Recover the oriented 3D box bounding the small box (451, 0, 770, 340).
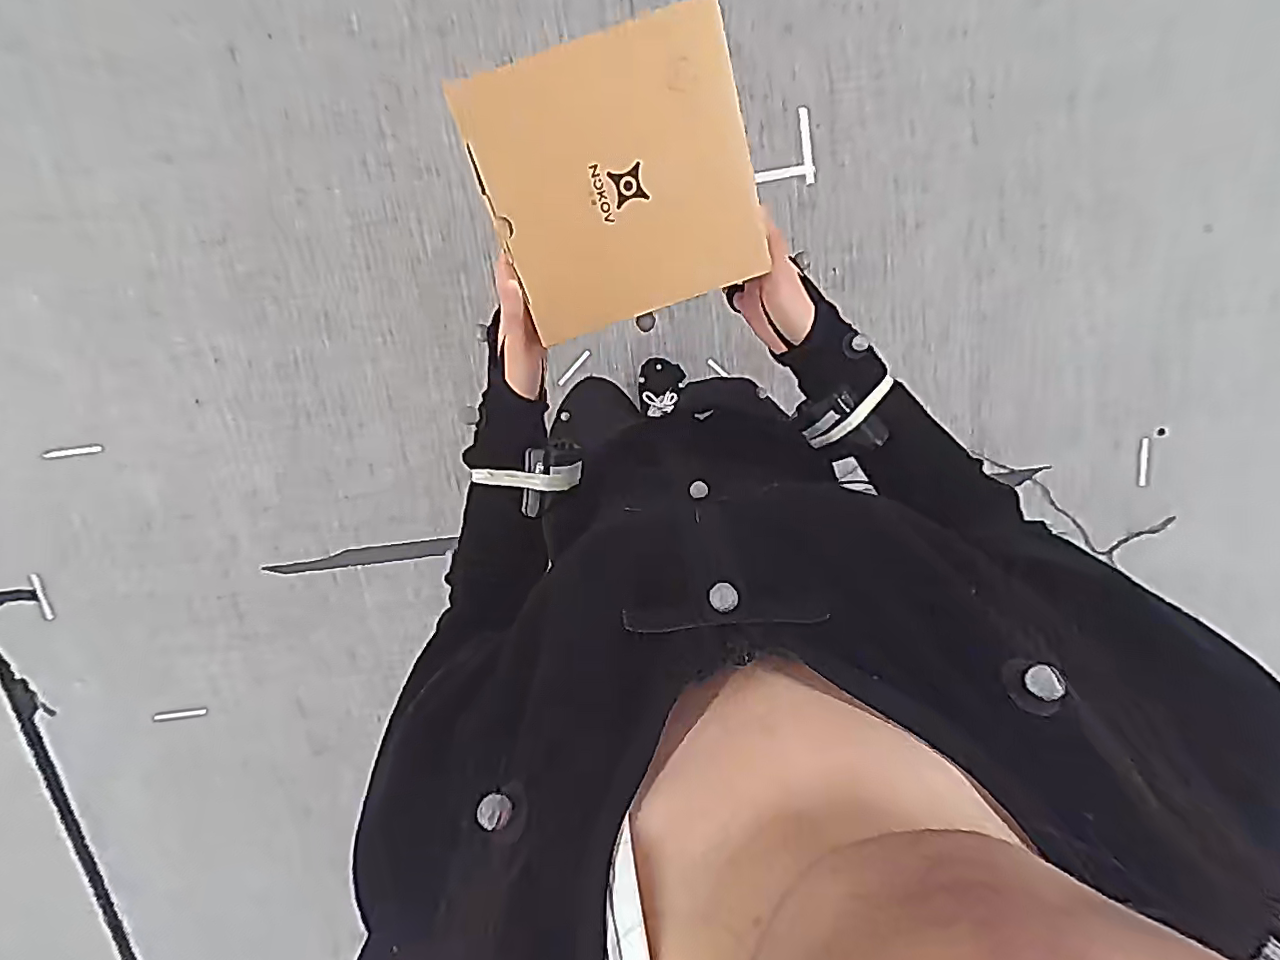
[{"bbox_3d":[-0.019,-0.230,0.429,0.179,0.176,0.168,-18,114,4],"label":"small box"}]
